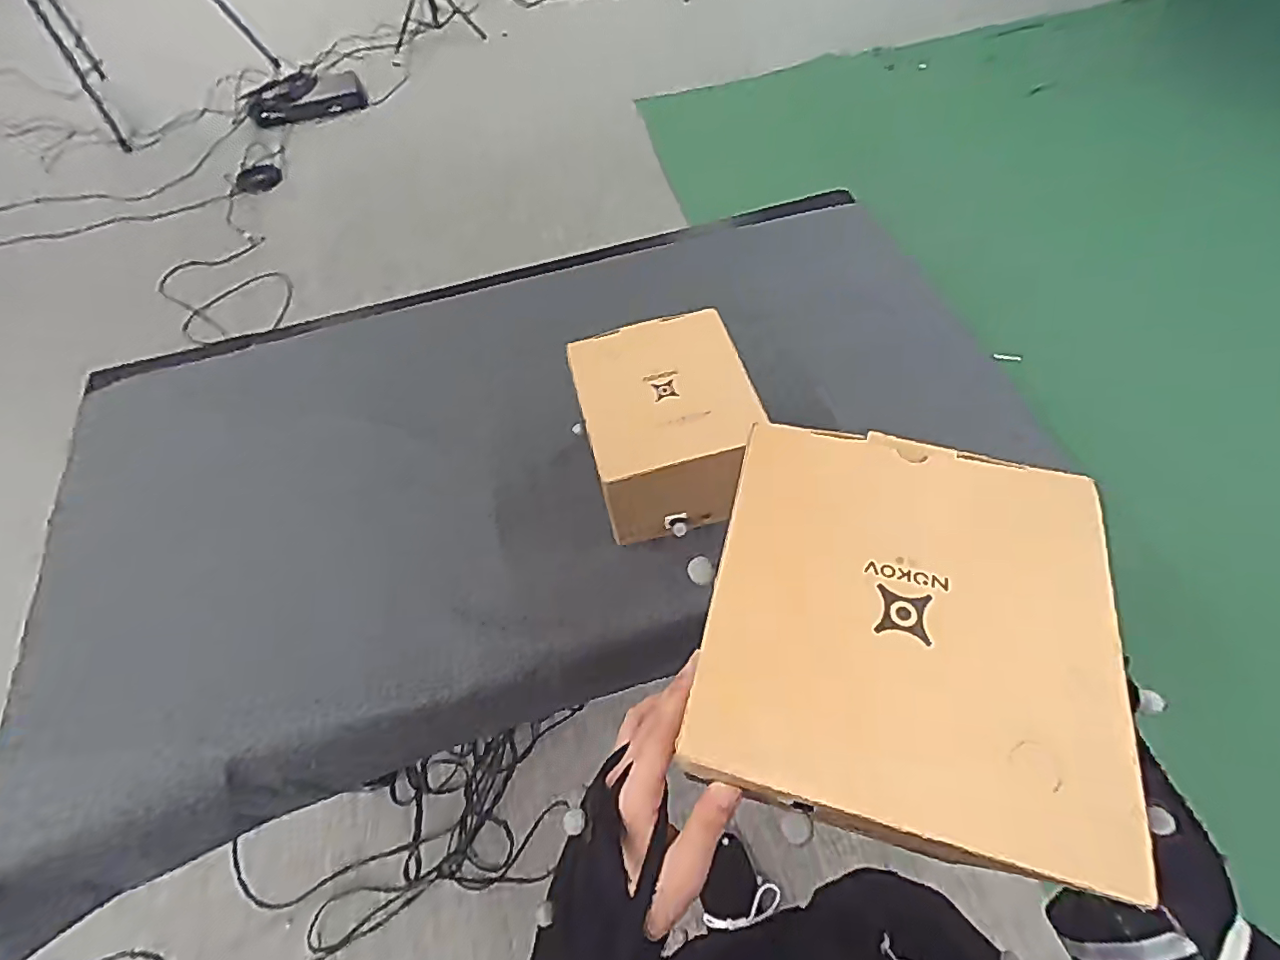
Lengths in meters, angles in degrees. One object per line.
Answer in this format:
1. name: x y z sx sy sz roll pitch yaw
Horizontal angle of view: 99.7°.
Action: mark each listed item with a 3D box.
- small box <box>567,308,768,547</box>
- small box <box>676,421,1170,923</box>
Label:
1. small box: 0.028 -0.051 0.594 0.168 0.176 0.179 -16 62 -4
2. small box: 0.124 0.097 0.298 0.168 0.176 0.179 12 59 14
